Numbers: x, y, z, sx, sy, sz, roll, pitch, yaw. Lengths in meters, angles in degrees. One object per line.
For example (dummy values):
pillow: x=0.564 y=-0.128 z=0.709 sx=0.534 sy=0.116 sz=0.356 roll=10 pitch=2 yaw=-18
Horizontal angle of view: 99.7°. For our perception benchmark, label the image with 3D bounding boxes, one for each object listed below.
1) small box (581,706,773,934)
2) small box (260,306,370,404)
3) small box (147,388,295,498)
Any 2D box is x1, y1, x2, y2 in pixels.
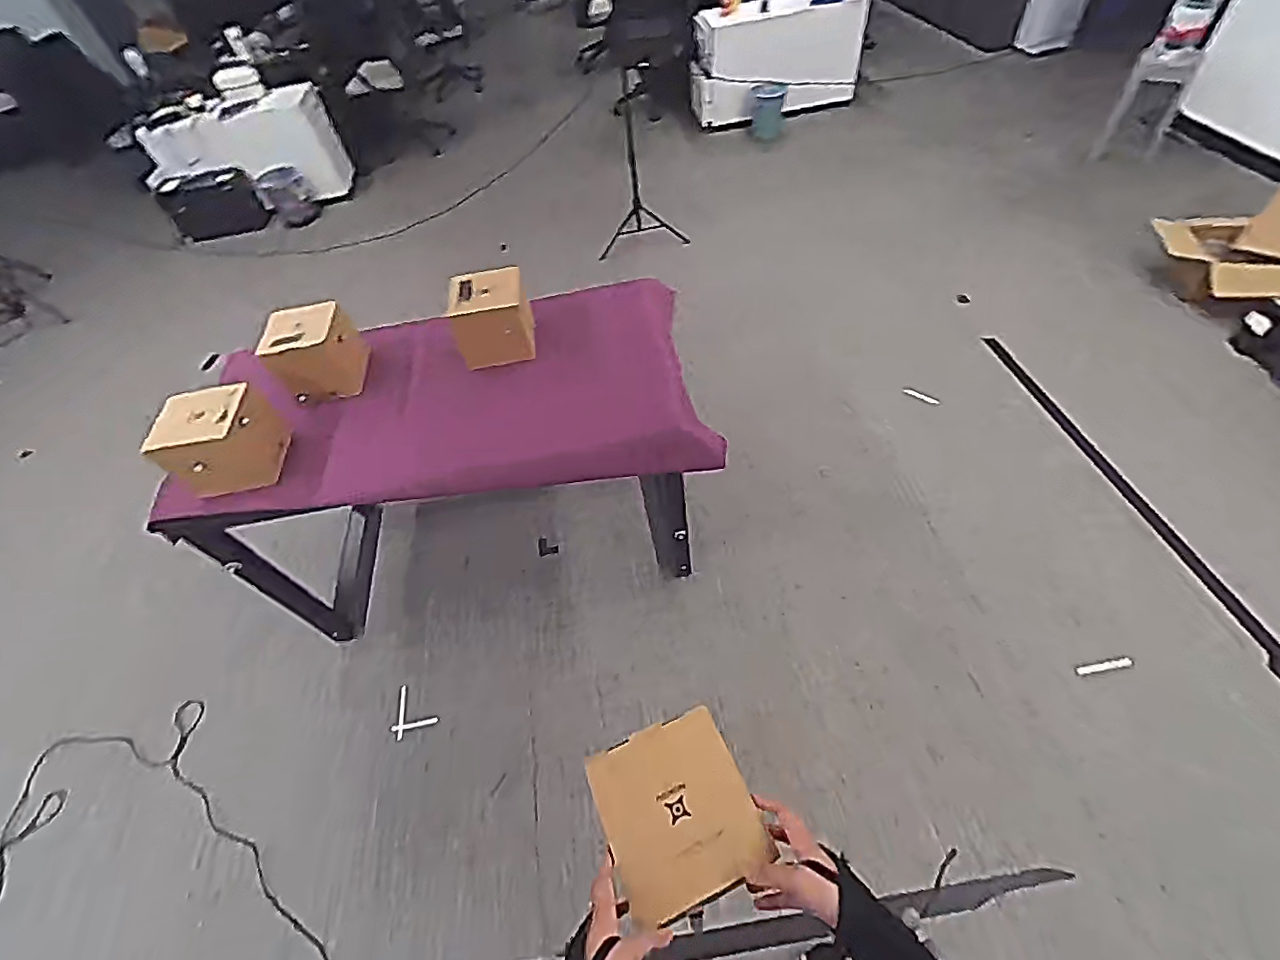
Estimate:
small box: x=0.037 y=0.418 z=0.666 sx=0.168 sy=0.176 sz=0.179 roll=-20 pitch=51 yaw=-14
small box: x=-0.815 y=-0.310 z=1.378 sx=0.168 sy=0.176 sz=0.179 roll=-11 pitch=52 yaw=-1
small box: x=-0.924 y=-0.078 z=1.213 sx=0.179 sy=0.176 sz=0.168 roll=-11 pitch=53 yaw=0
